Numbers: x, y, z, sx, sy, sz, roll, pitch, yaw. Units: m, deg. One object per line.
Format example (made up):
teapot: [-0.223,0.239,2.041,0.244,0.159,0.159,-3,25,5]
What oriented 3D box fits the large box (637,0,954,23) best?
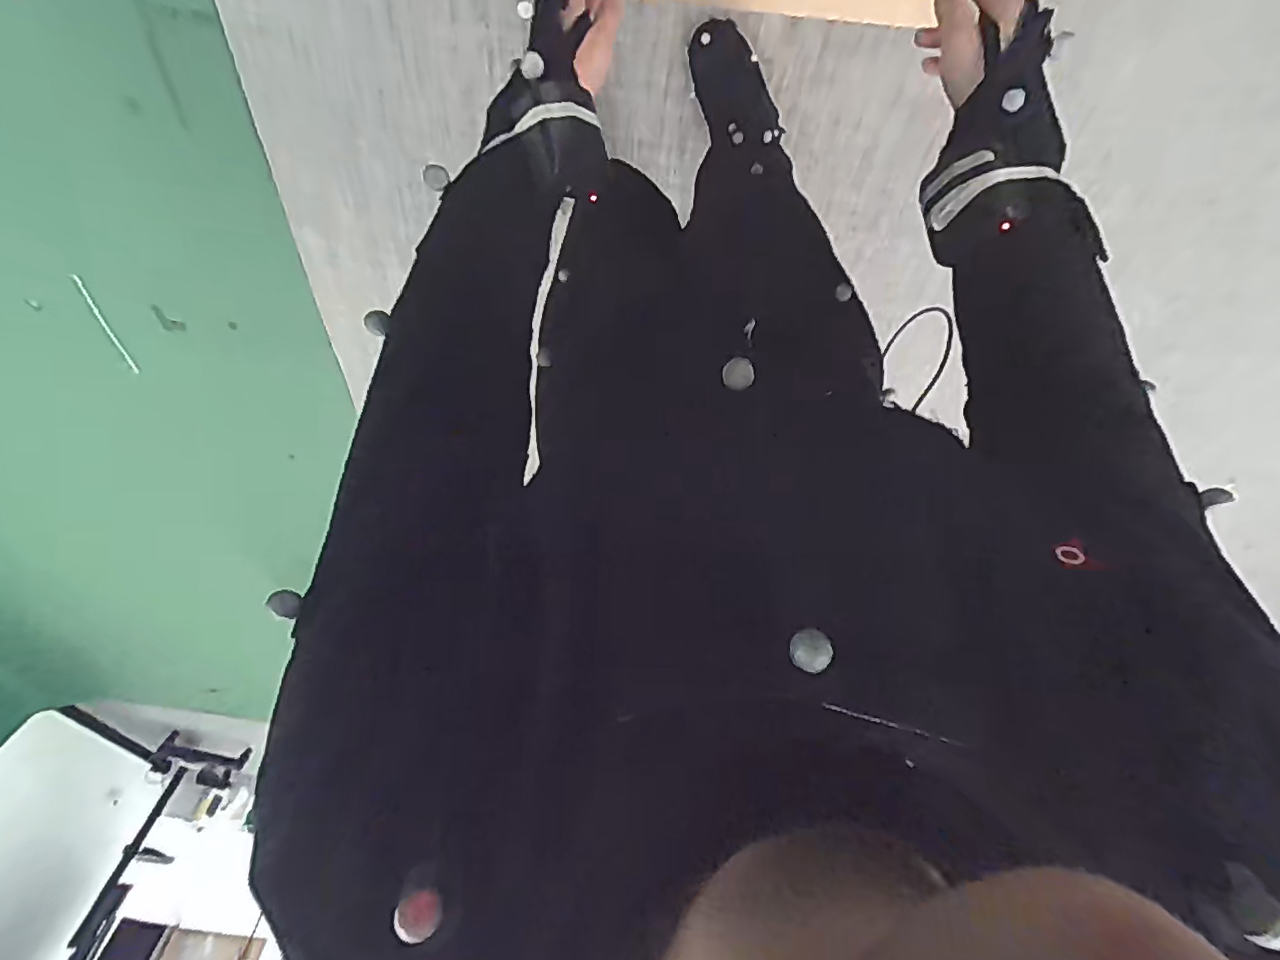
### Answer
large box: [0.205,-0.803,0.681,0.408,0.320,0.320,6,136,1]
